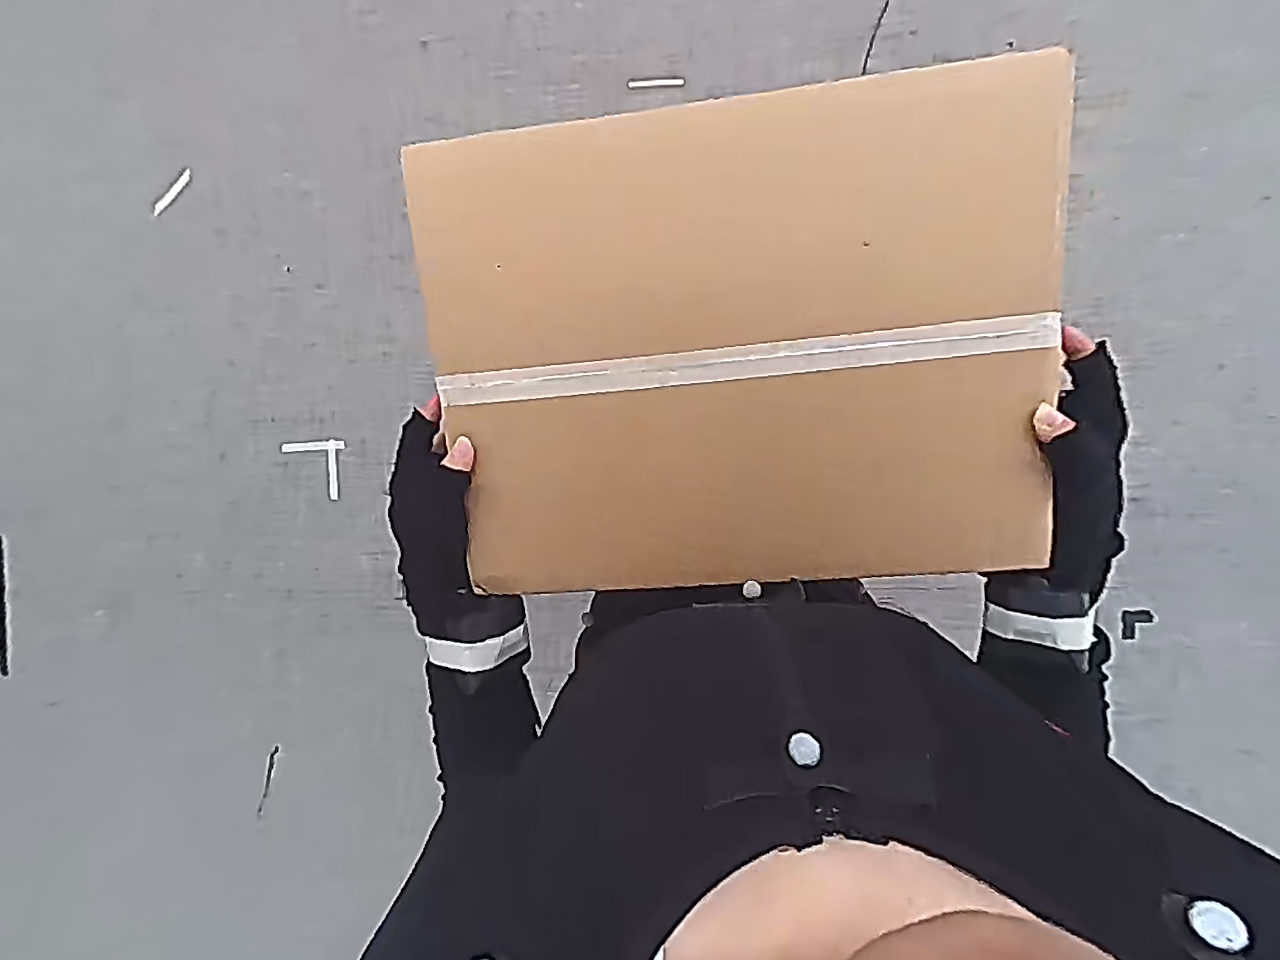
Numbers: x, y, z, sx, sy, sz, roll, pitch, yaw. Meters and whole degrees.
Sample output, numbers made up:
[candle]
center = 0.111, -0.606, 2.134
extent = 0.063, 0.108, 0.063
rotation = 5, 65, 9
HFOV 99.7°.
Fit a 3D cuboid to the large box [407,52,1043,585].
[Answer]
[large box]
center = 0.071, -0.116, 0.511
extent = 0.408, 0.320, 0.320
rotation = -4, 101, 7
